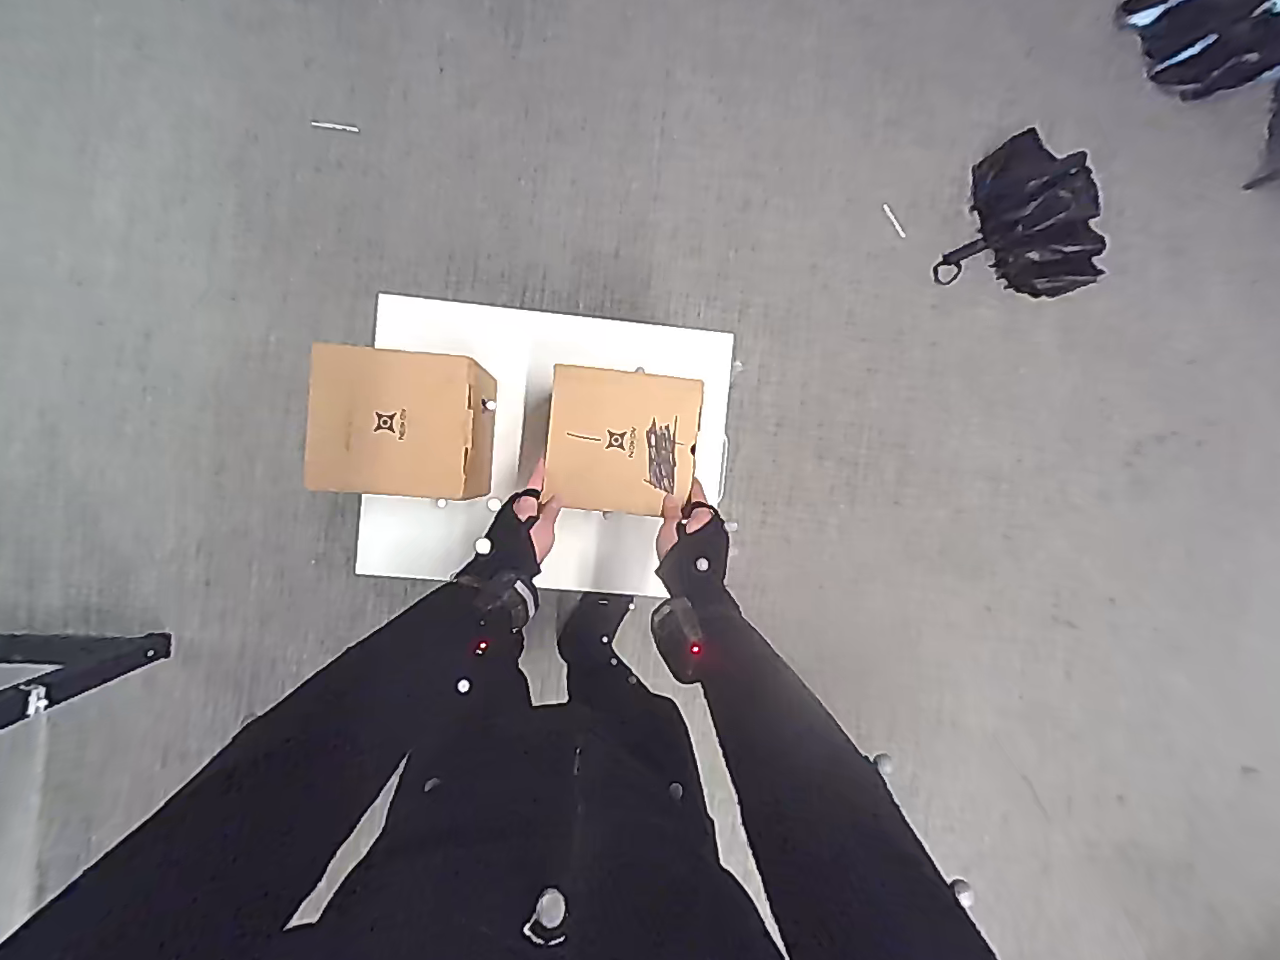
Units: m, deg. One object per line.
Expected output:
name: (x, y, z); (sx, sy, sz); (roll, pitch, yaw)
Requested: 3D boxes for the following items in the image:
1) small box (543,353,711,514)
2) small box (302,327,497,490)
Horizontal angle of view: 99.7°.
small box: (-0.020, -0.054, 0.693); (0.179, 0.176, 0.168); (7, 90, -4)
small box: (-0.279, -0.078, 0.669); (0.179, 0.176, 0.168); (5, 89, -6)
